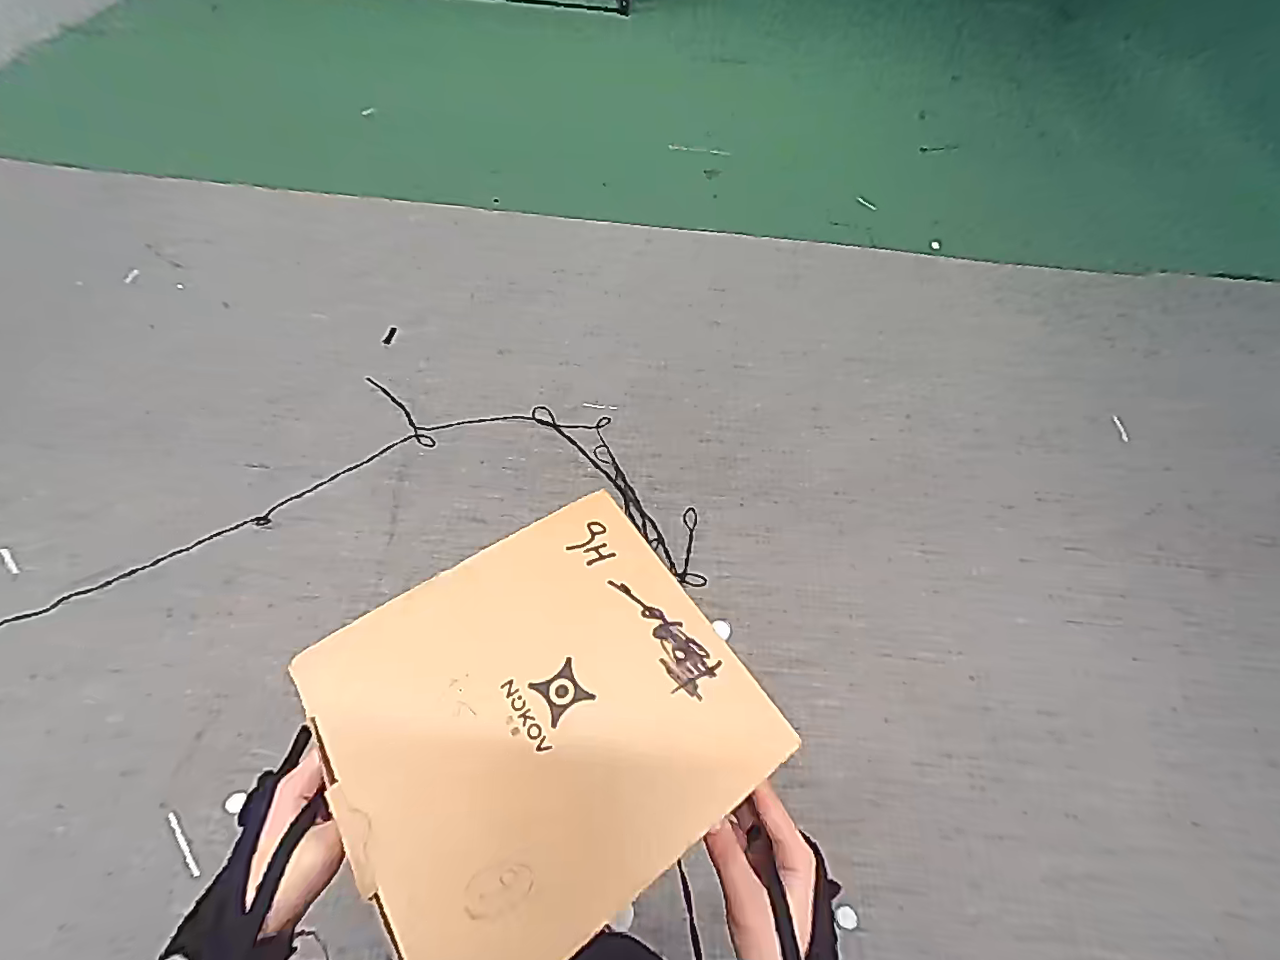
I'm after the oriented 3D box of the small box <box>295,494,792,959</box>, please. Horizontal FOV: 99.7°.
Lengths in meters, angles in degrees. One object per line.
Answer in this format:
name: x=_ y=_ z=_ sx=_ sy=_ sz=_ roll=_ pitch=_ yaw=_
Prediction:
small box: x=-0.049 y=0.146 z=0.312 sx=0.179 sy=0.176 sz=0.168 roll=-29 pitch=63 yaw=-21
